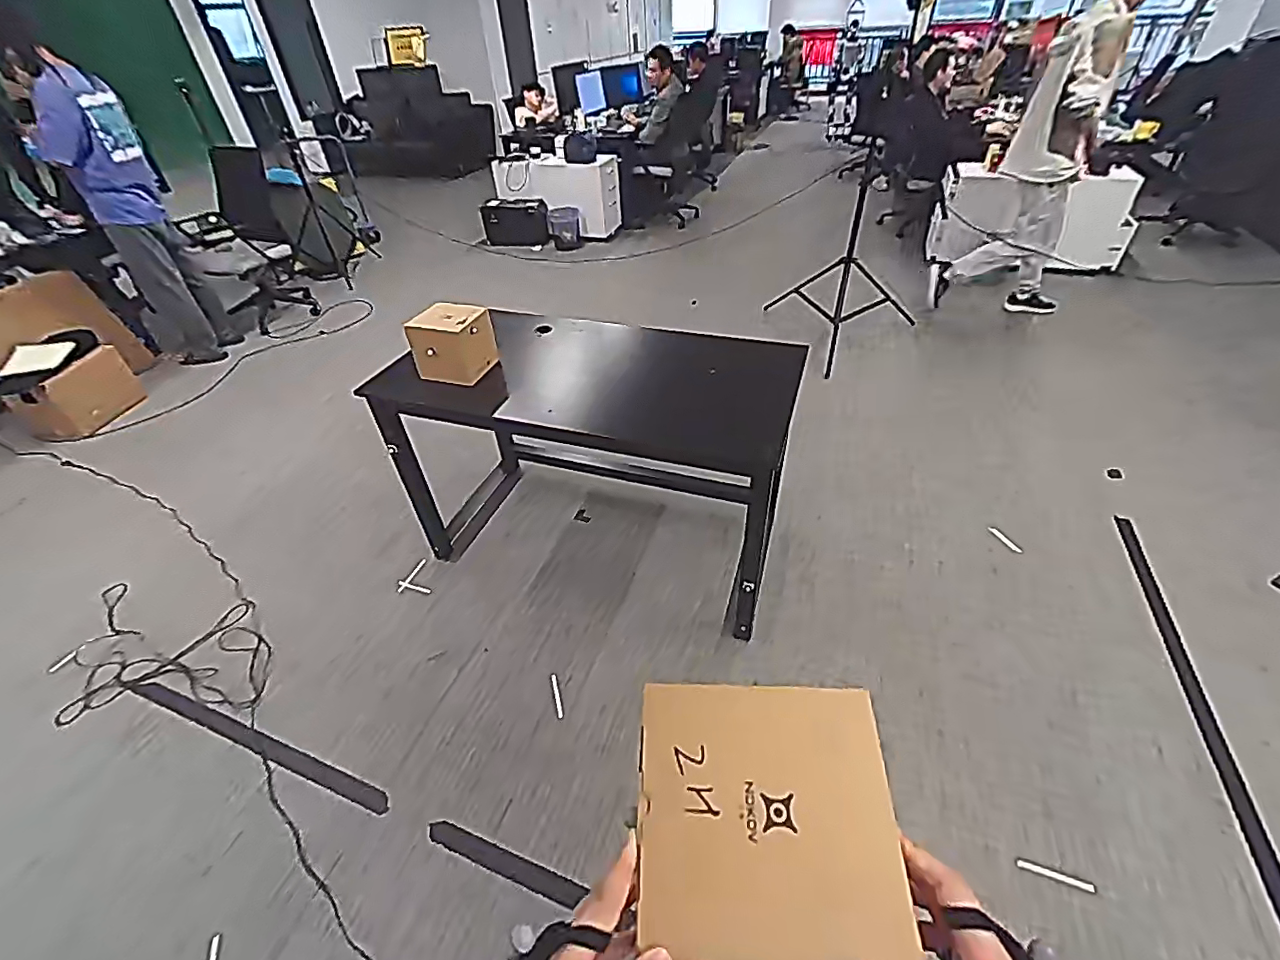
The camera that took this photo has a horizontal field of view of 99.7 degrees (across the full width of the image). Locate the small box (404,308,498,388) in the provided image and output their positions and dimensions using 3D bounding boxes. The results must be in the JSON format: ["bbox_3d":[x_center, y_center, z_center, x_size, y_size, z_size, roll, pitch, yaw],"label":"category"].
[{"bbox_3d":[-0.541,-0.384,1.573,0.179,0.176,0.168,9,42,15],"label":"small box"}]

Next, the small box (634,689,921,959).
[{"bbox_3d":[0.087,0.276,0.435,0.179,0.176,0.168,0,54,3],"label":"small box"}]
